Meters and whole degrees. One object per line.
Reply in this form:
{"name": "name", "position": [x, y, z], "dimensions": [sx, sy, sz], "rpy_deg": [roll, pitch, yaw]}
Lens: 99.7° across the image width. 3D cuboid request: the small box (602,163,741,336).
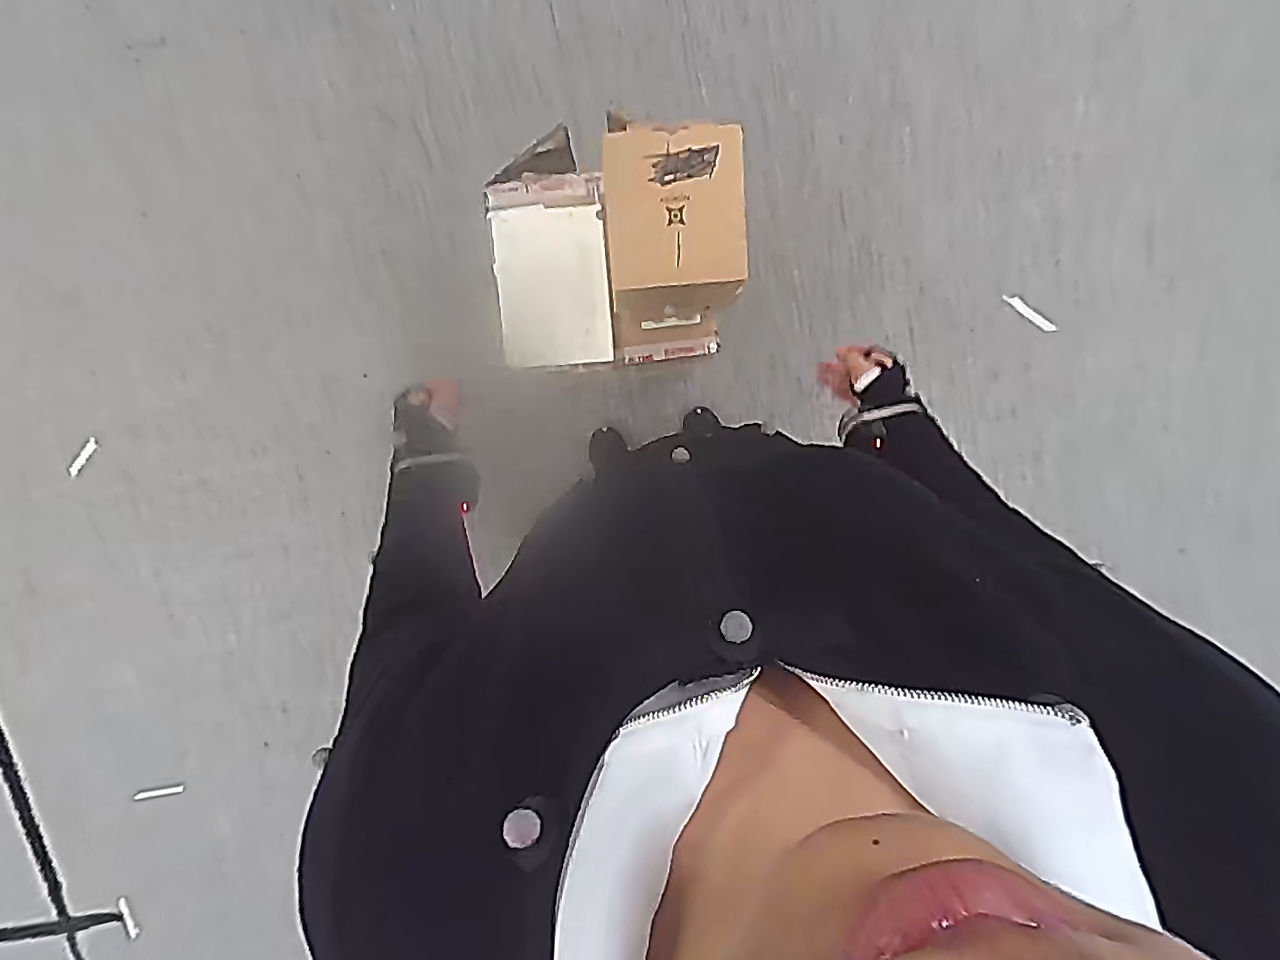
{"name": "small box", "position": [0.035, -0.299, 0.732], "dimensions": [0.168, 0.176, 0.179], "rpy_deg": [-4, 99, -2]}
